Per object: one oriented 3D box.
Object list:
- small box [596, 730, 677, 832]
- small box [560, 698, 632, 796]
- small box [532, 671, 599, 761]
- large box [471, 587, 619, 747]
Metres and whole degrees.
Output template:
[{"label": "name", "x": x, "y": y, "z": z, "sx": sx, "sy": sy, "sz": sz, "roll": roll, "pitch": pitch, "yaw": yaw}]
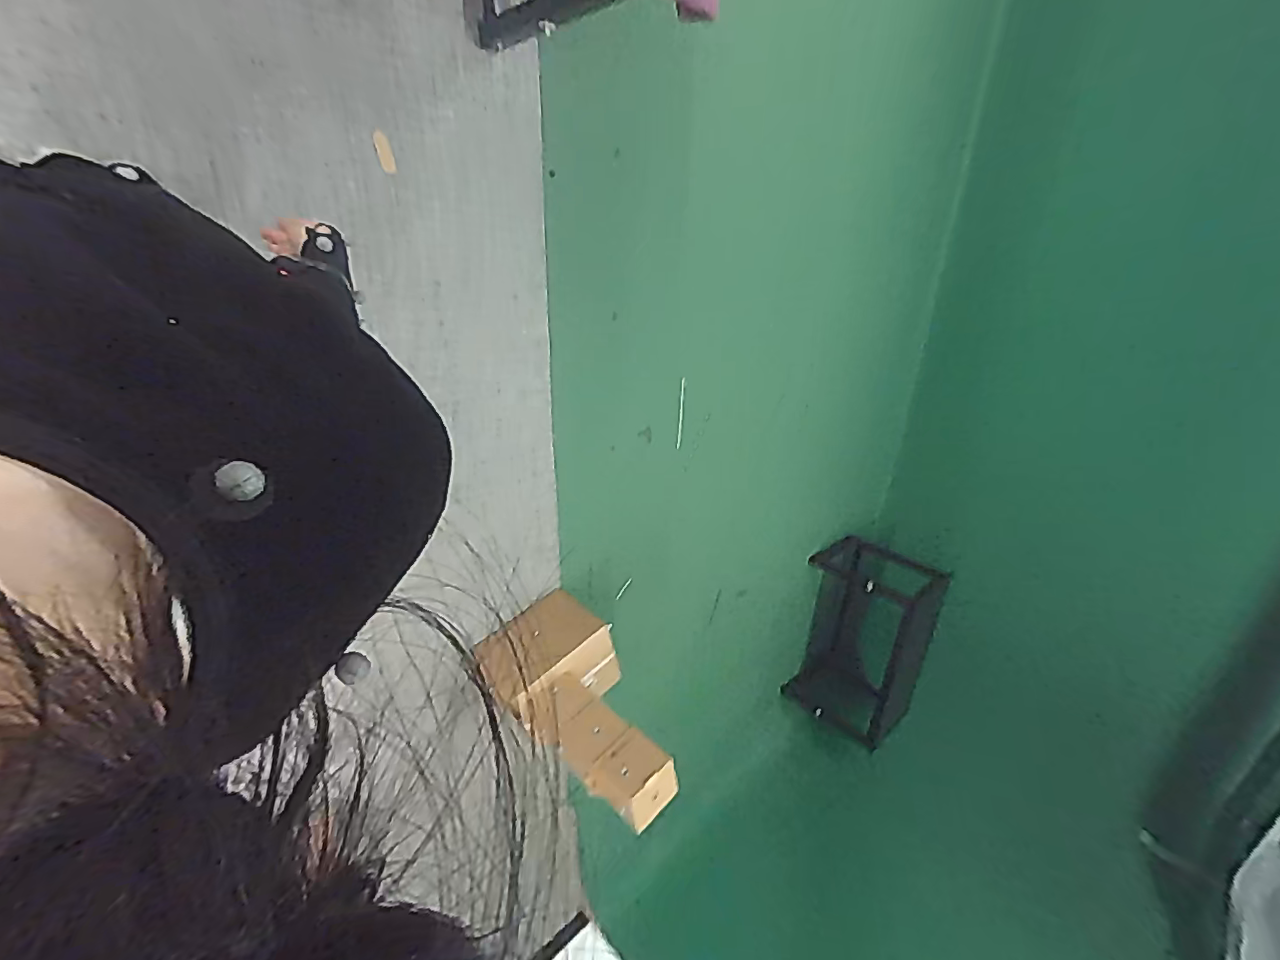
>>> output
[{"label": "small box", "x": -0.012, "y": 0.878, "z": 1.600, "sx": 0.168, "sy": 0.176, "sz": 0.179, "roll": -32, "pitch": 129, "yaw": -32}, {"label": "small box", "x": -0.133, "y": 0.834, "z": 1.701, "sx": 0.179, "sy": 0.176, "sz": 0.168, "roll": -34, "pitch": 129, "yaw": -32}, {"label": "small box", "x": -0.245, "y": 0.784, "z": 1.810, "sx": 0.179, "sy": 0.176, "sz": 0.168, "roll": -29, "pitch": 127, "yaw": -34}, {"label": "large box", "x": -0.348, "y": 0.683, "z": 2.026, "sx": 0.408, "sy": 0.320, "sz": 0.320, "roll": -34, "pitch": 131, "yaw": -32}]
